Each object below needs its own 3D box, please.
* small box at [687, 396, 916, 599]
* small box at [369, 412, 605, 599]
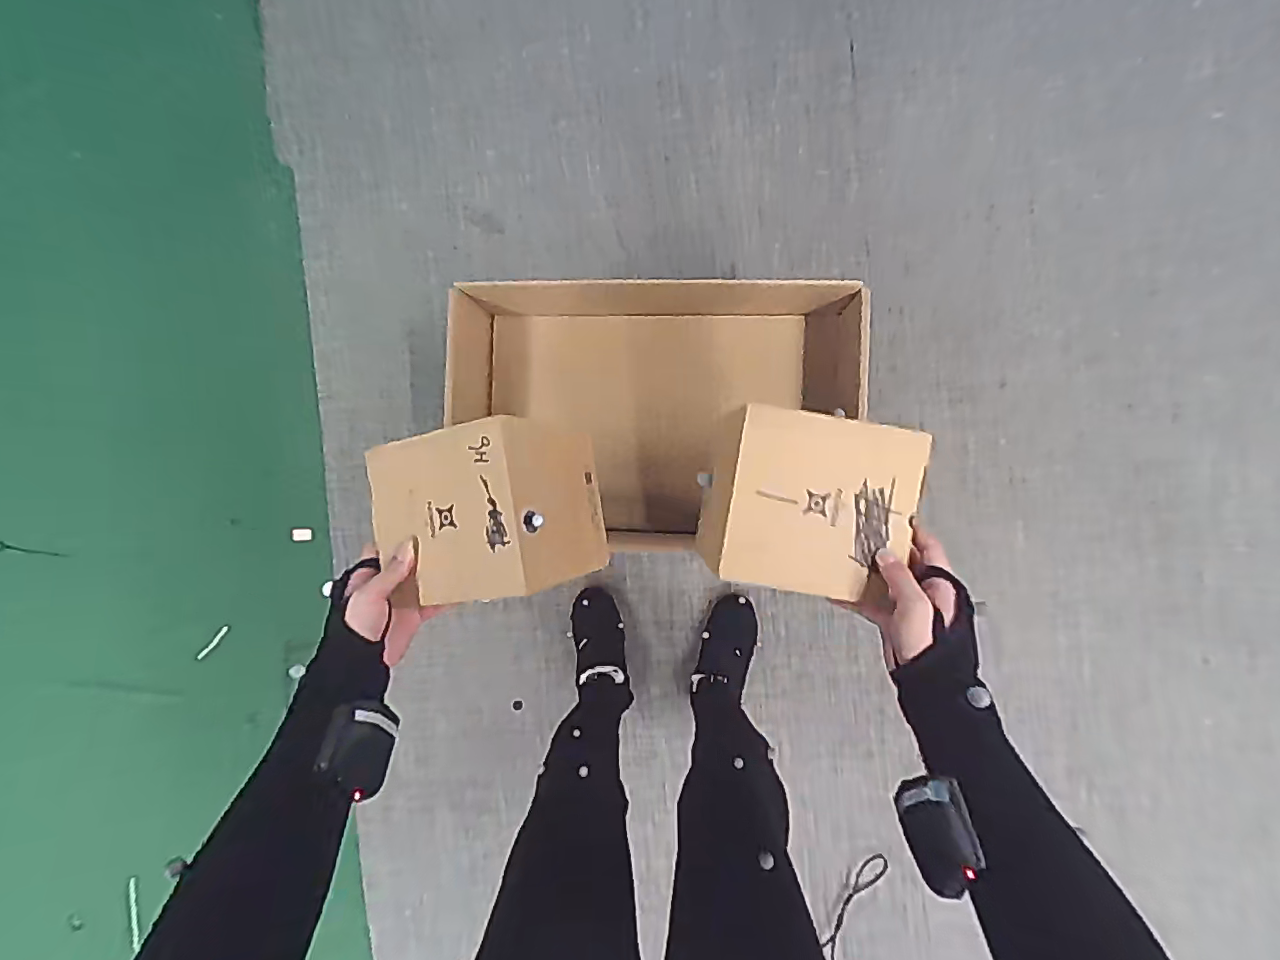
[{"bbox_3d":[0.156,0.016,0.581,0.179,0.176,0.168,10,90,0],"label":"small box"},{"bbox_3d":[-0.161,0.030,0.596,0.179,0.176,0.168,-10,87,24],"label":"small box"}]
